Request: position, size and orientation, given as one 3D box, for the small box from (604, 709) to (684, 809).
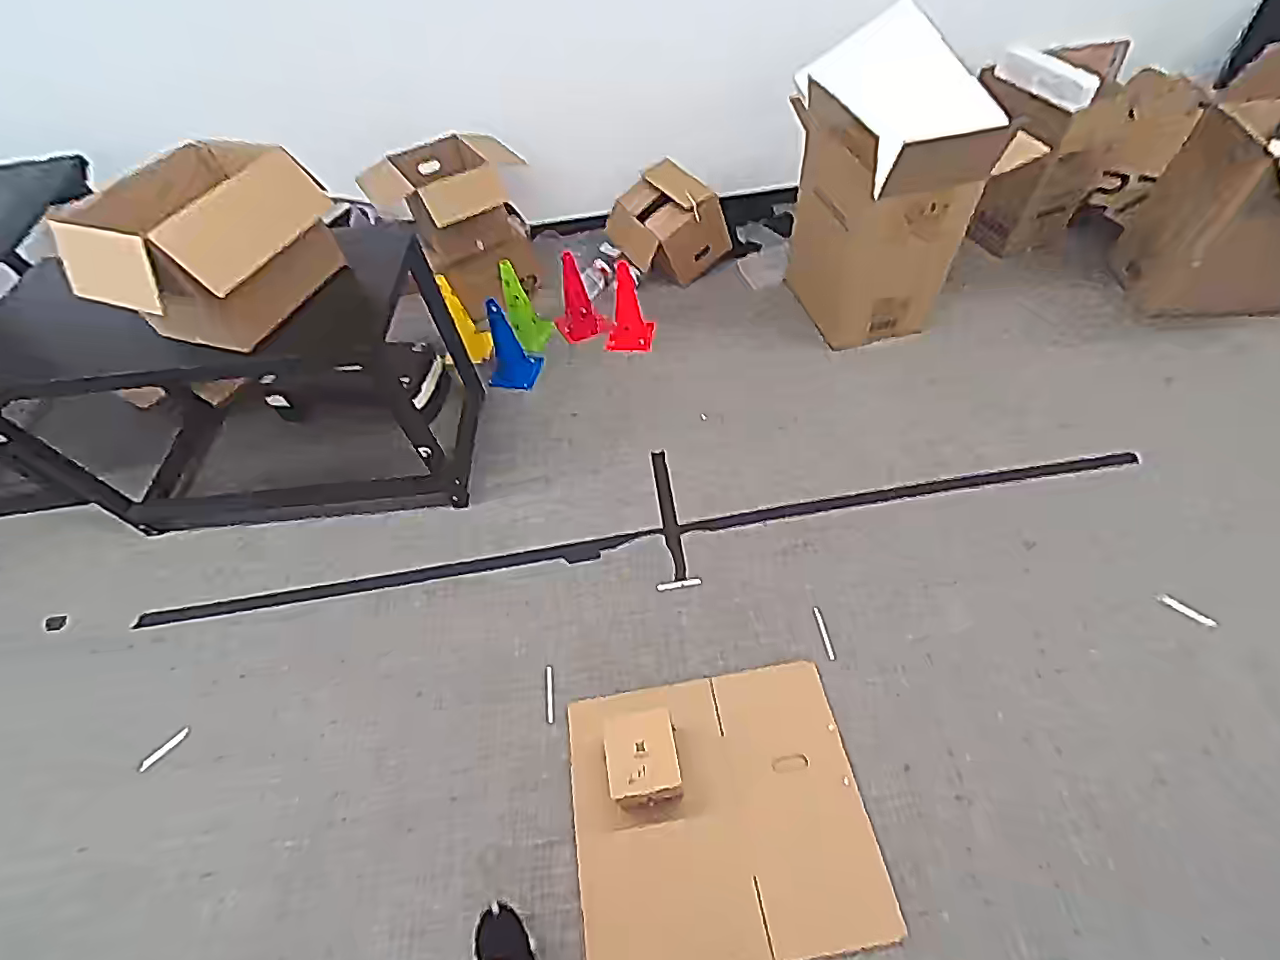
[{"bbox_3d":[0.010,0.681,1.316,0.168,0.176,0.179,-10,54,-1],"label":"small box"}]
